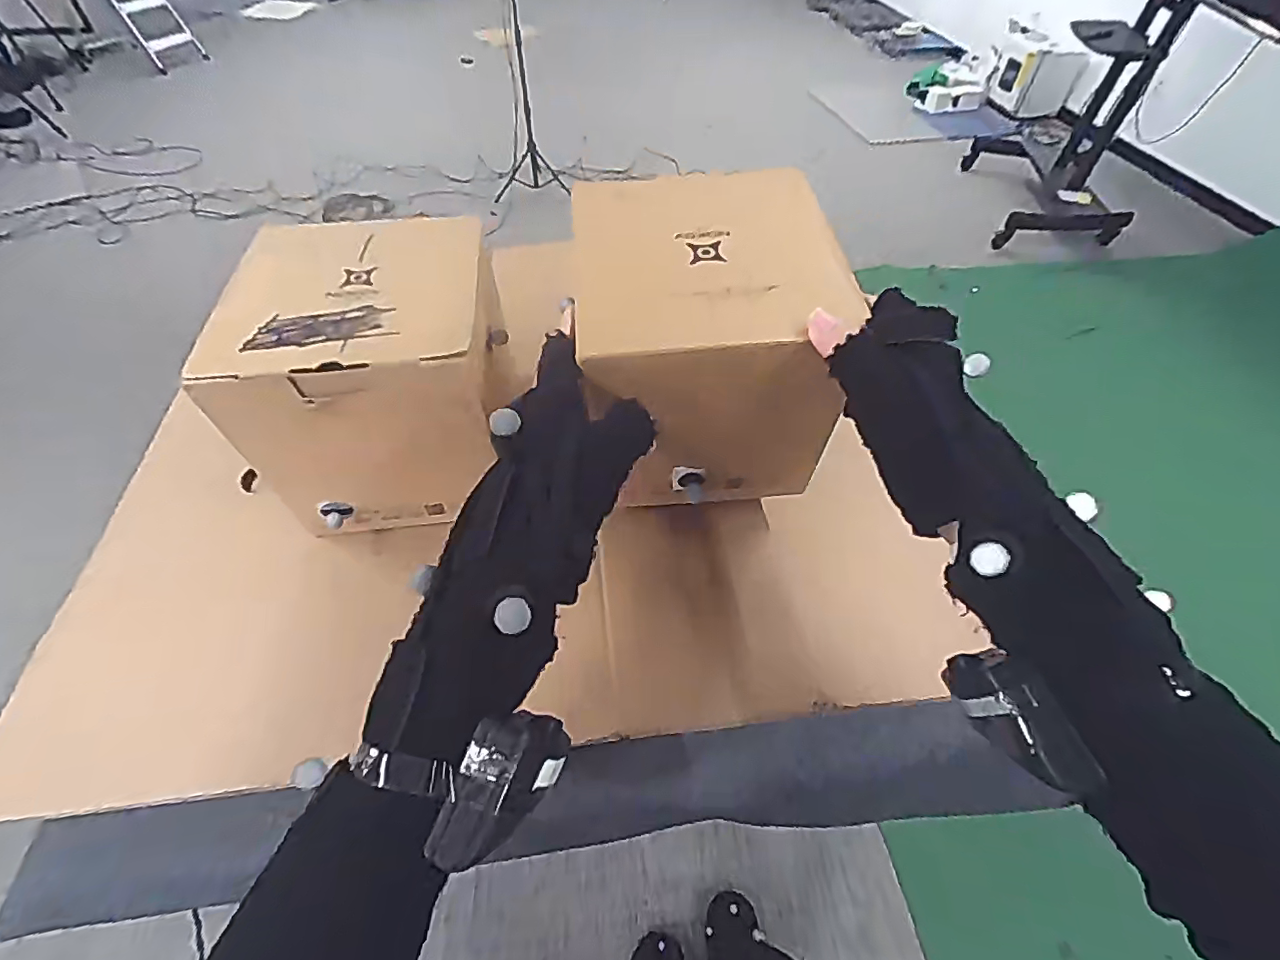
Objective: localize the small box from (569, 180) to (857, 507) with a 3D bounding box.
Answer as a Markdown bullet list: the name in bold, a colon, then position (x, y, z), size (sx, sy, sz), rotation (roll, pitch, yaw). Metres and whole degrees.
- **small box**: position (0.037, -0.099, 0.414), size (0.168, 0.176, 0.179), rotation (-5, 57, -1)

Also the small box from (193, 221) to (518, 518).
- **small box**: position (-0.195, -0.081, 0.438), size (0.168, 0.176, 0.179), rotation (-5, 52, -5)
